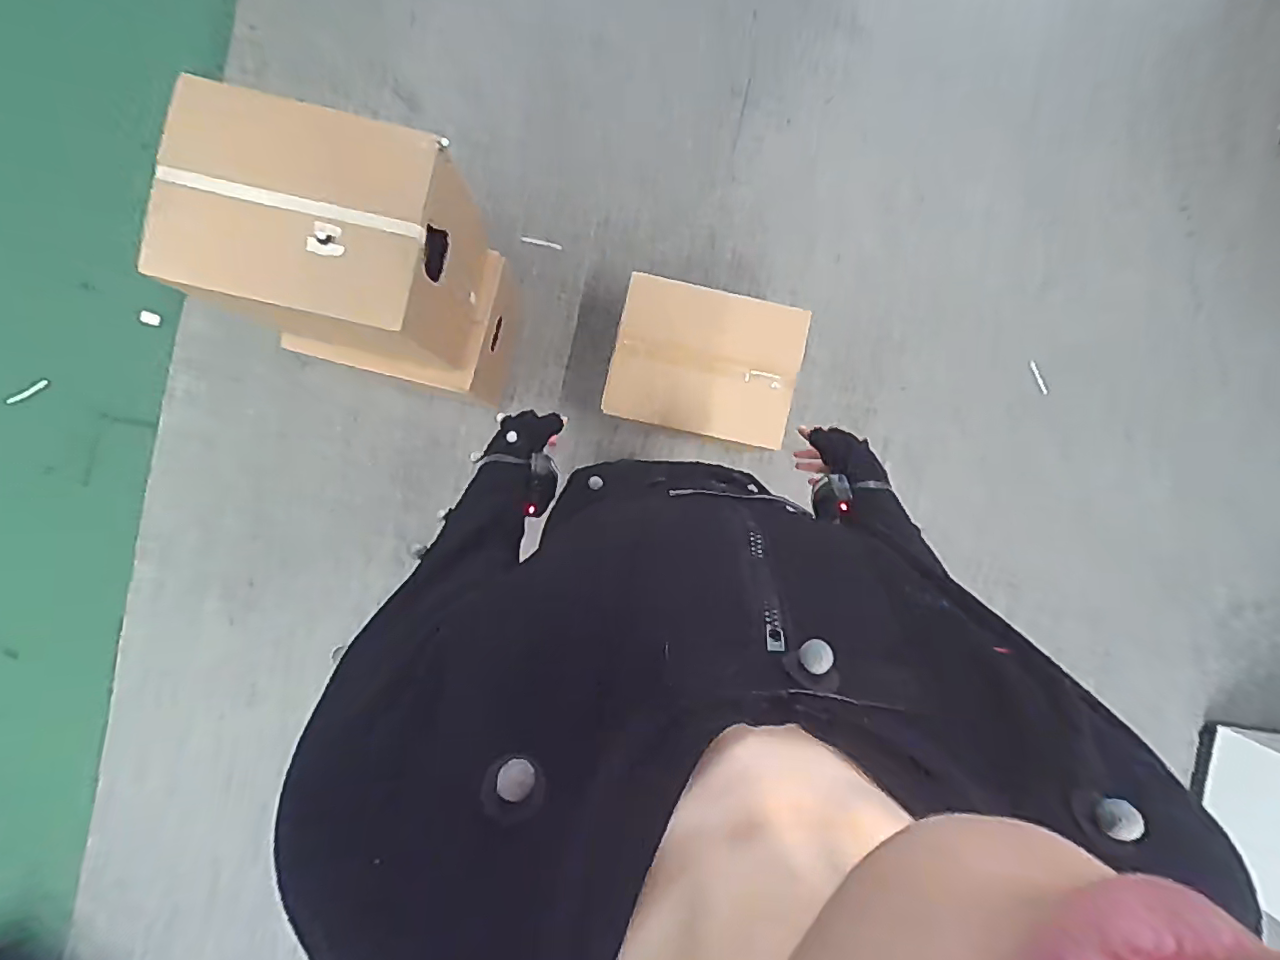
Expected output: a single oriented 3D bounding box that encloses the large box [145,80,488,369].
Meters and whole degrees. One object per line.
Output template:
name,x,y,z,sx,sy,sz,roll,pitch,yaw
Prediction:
large box,-0.533,-0.421,0.978,0.408,0.320,0.320,13,89,-3
